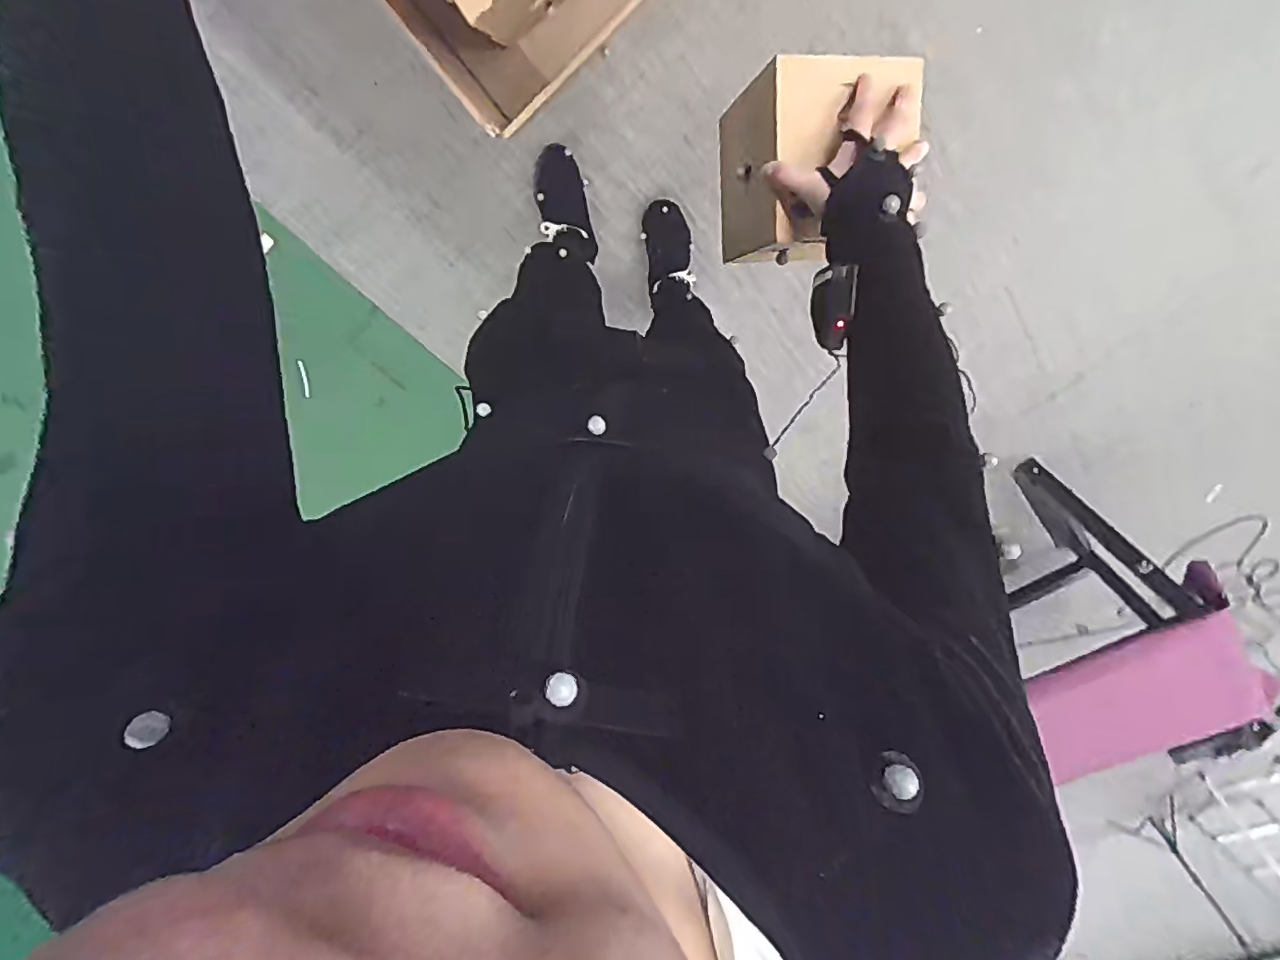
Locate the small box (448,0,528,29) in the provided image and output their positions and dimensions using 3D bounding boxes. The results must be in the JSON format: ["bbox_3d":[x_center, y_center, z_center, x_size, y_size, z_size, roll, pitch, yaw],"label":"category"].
[{"bbox_3d":[-0.167,-0.622,0.572,0.168,0.176,0.179,-29,123,15],"label":"small box"}]
